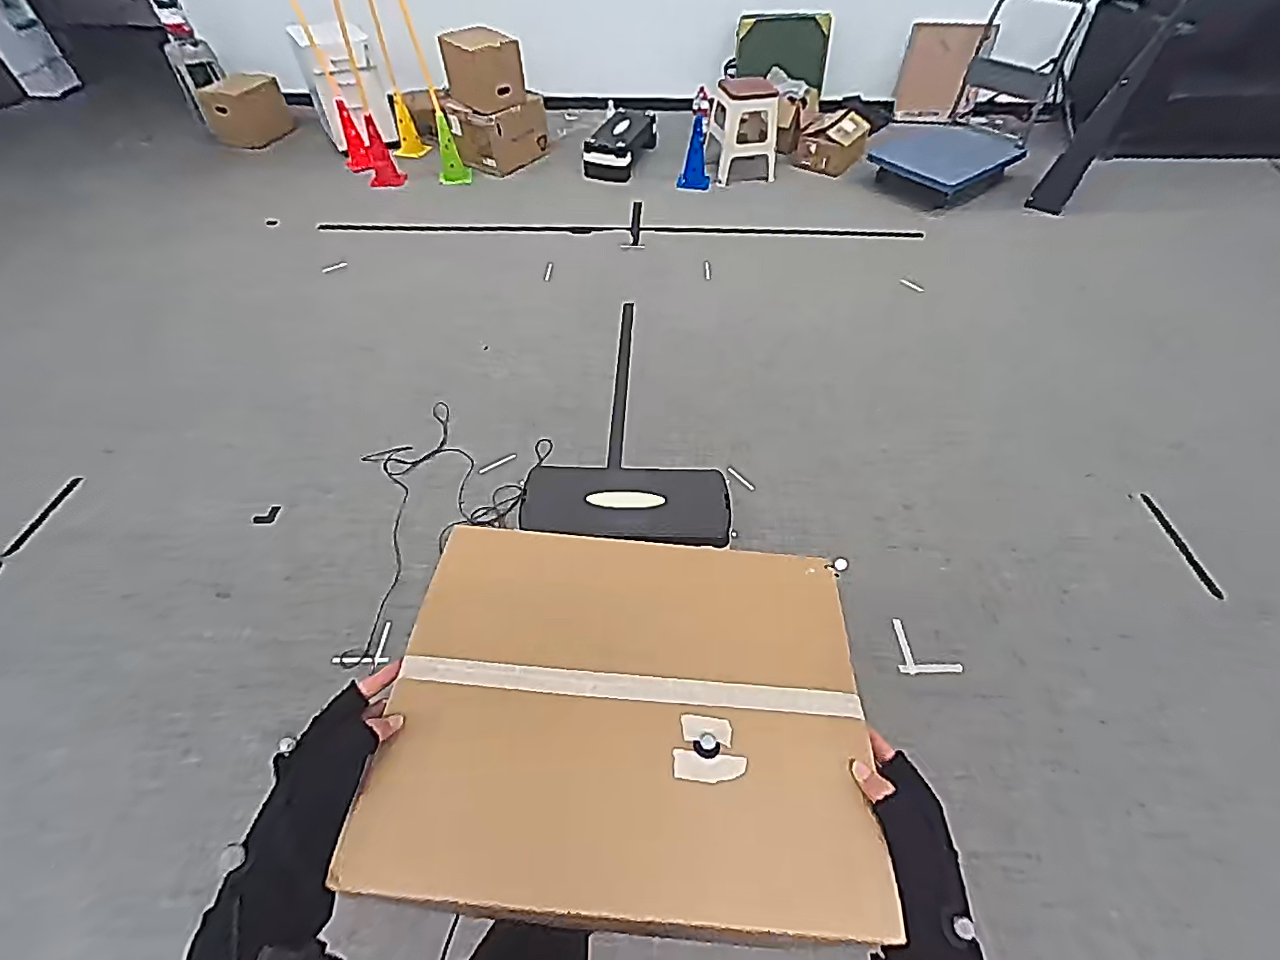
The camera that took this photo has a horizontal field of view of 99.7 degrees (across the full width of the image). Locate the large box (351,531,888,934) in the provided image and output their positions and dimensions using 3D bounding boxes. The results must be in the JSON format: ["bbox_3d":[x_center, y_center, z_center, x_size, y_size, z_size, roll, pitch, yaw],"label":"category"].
[{"bbox_3d":[-0.016,0.283,0.601,0.408,0.320,0.320,5,48,0],"label":"large box"}]
